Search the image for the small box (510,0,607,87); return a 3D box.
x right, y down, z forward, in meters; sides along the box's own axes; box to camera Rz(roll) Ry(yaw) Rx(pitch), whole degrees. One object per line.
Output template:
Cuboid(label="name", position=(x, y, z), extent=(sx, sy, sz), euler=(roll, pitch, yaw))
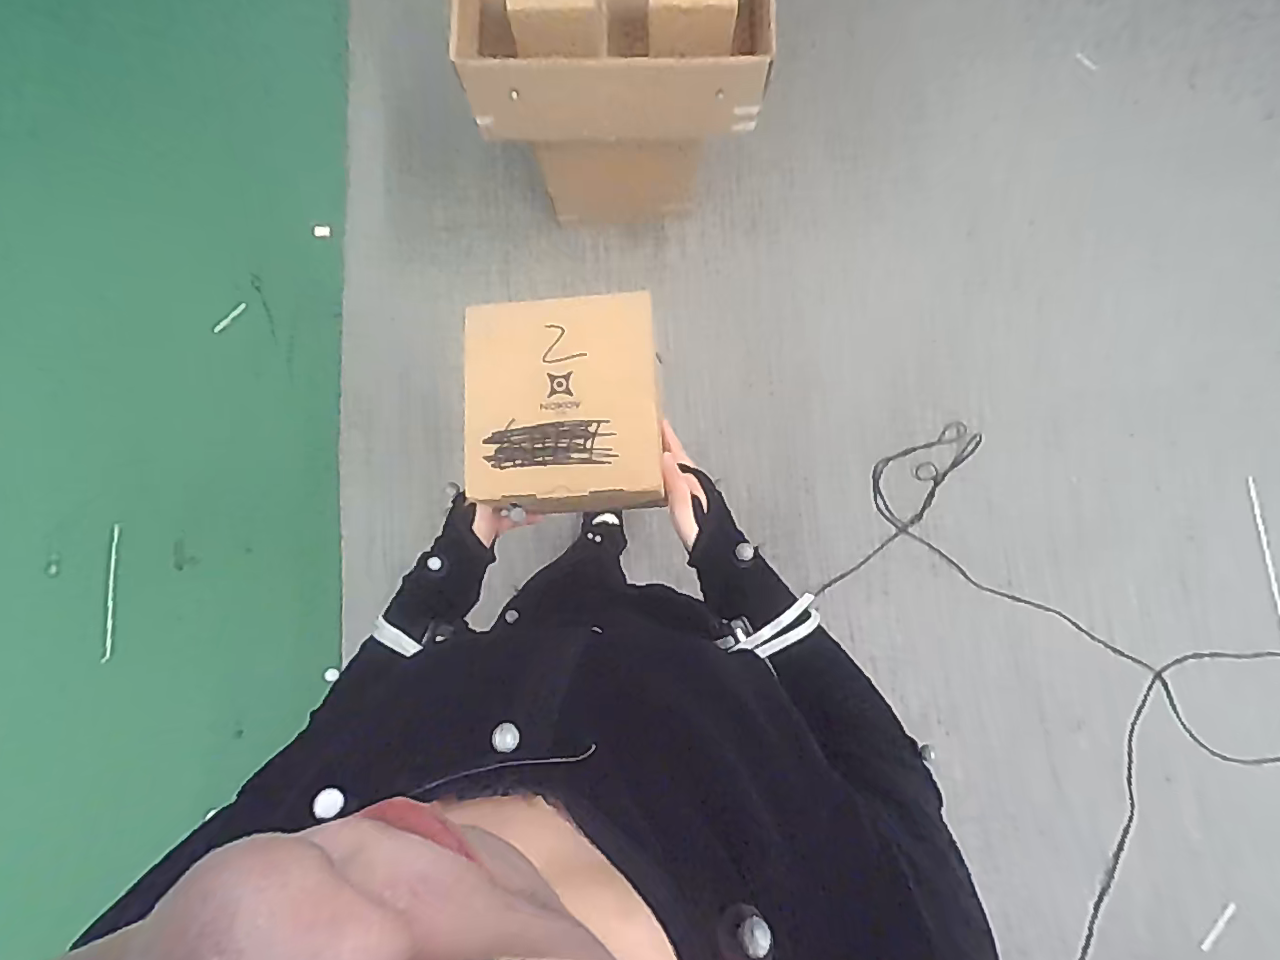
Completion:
Cuboid(label="small box", position=(-0.157, -0.938, 1.089), extent=(0.168, 0.176, 0.179), euler=(0, 84, 2))
